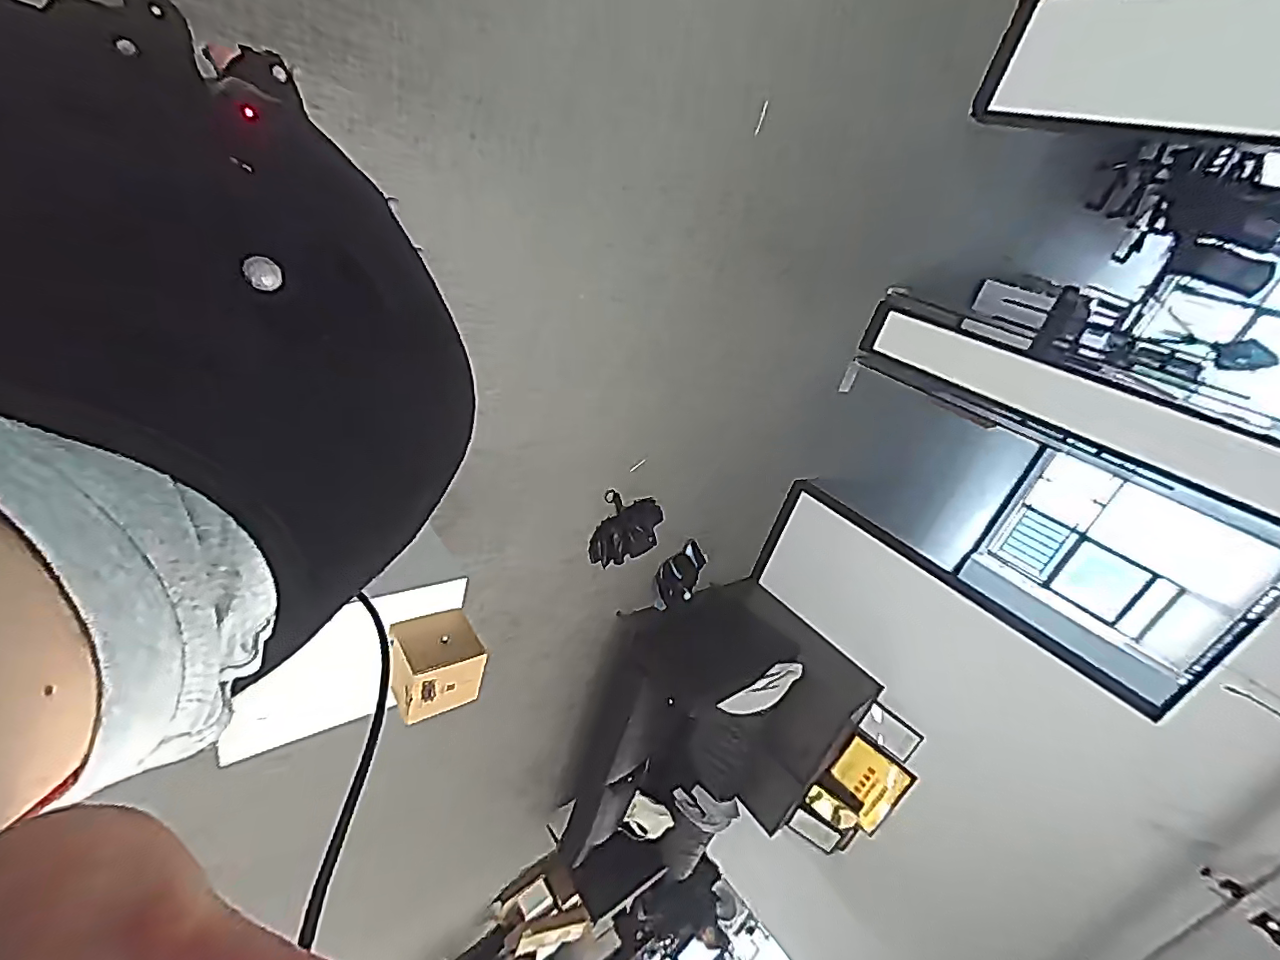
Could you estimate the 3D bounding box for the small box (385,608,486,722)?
[{"bbox_3d":[-0.503,0.441,1.316,0.179,0.176,0.168,-7,126,-43],"label":"small box"}]
